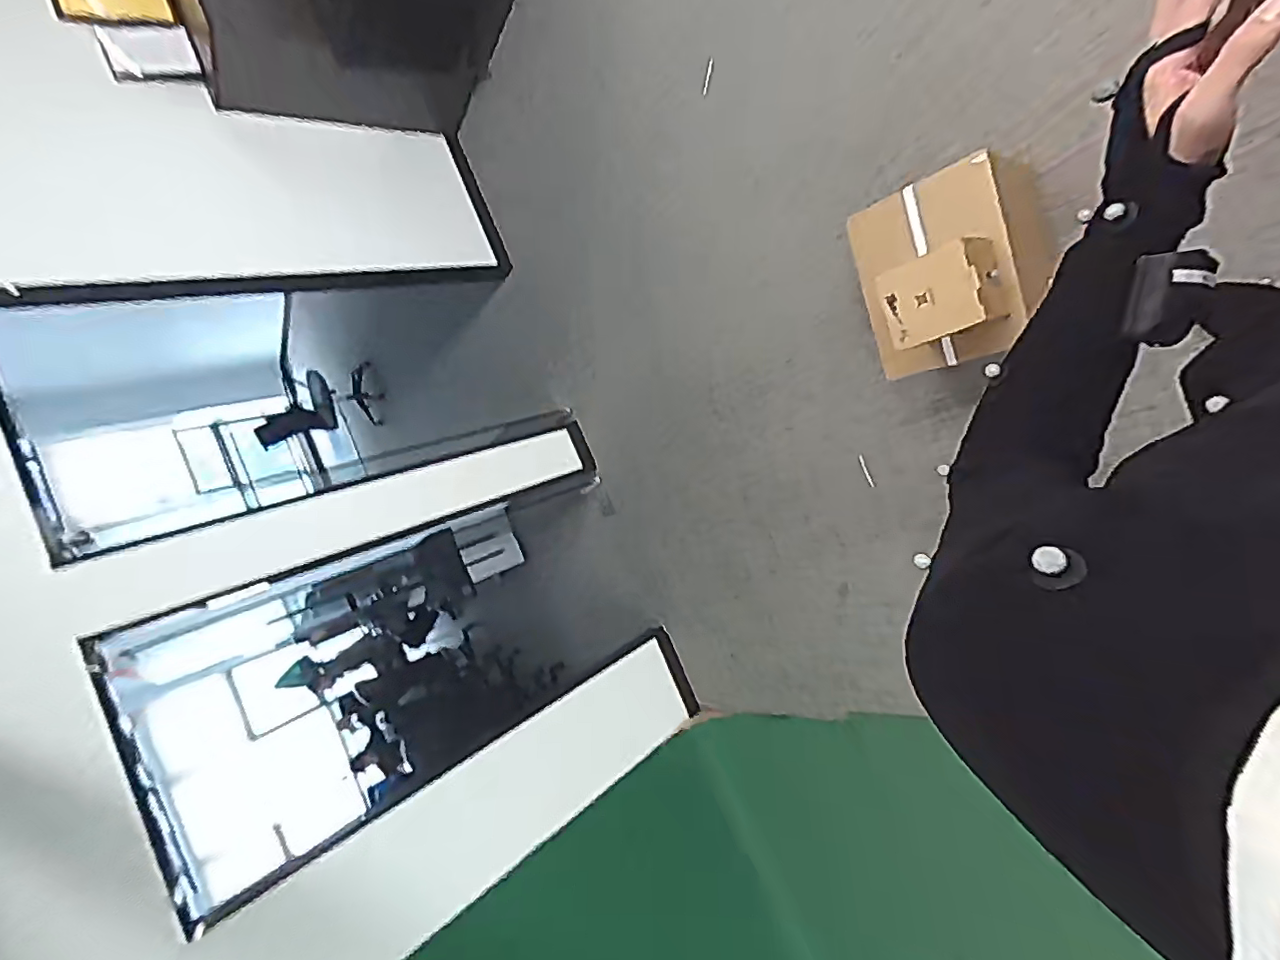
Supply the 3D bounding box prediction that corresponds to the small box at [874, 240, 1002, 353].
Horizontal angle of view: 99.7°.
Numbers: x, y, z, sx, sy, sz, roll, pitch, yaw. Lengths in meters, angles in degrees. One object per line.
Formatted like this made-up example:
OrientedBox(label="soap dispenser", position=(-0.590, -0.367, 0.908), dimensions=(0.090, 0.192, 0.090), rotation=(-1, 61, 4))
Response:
OrientedBox(label="small box", position=(0.626, -0.381, 1.125), dimensions=(0.179, 0.176, 0.168), rotation=(-16, 94, 50))
